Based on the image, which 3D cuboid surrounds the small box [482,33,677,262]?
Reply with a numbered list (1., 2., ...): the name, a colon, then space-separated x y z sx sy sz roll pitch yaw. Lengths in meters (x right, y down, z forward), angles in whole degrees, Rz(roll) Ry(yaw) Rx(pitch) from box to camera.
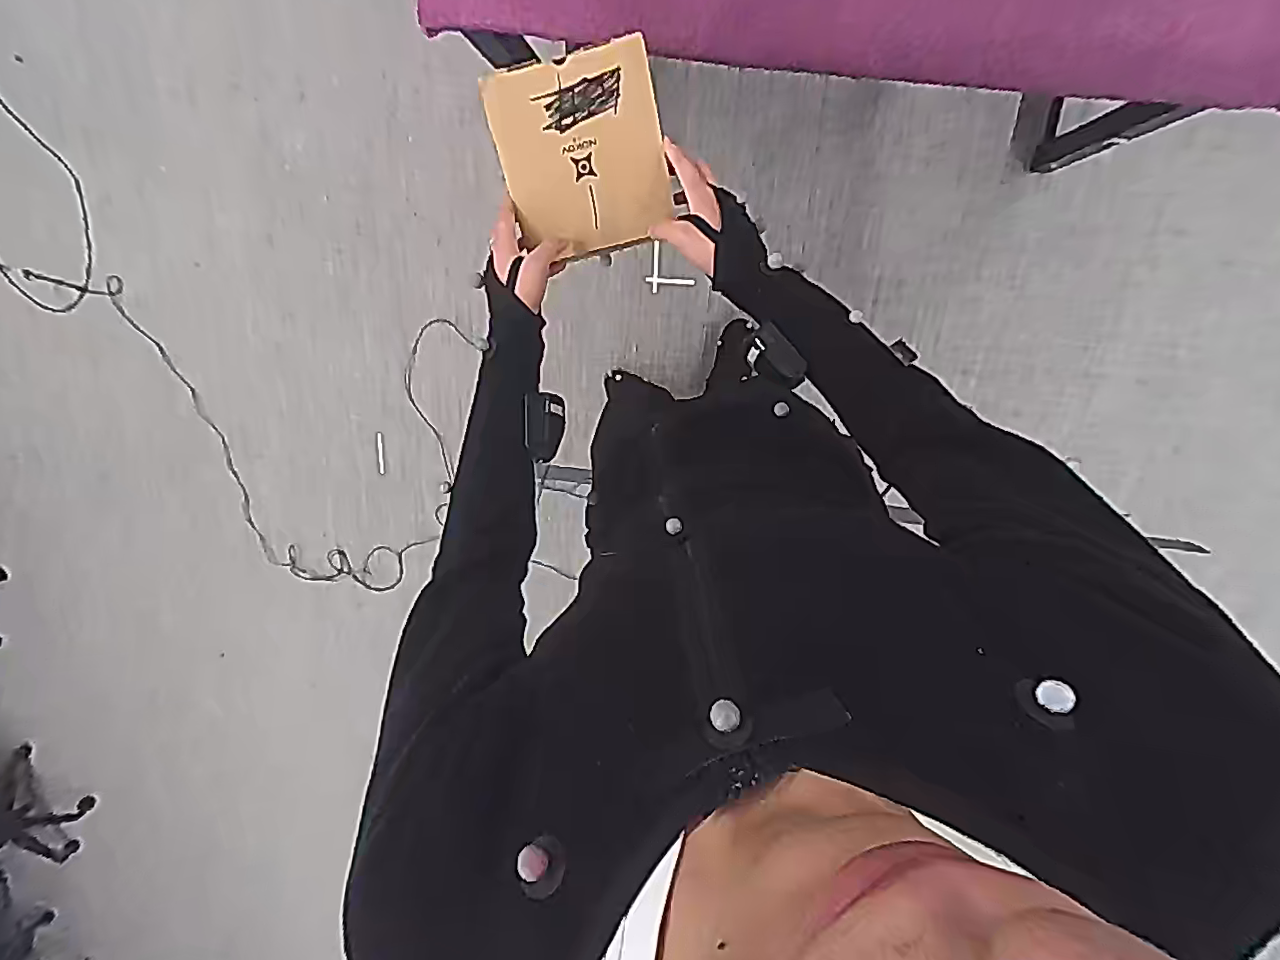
1. small box: -0.059 -0.357 0.618 0.168 0.176 0.179 -12 112 4
